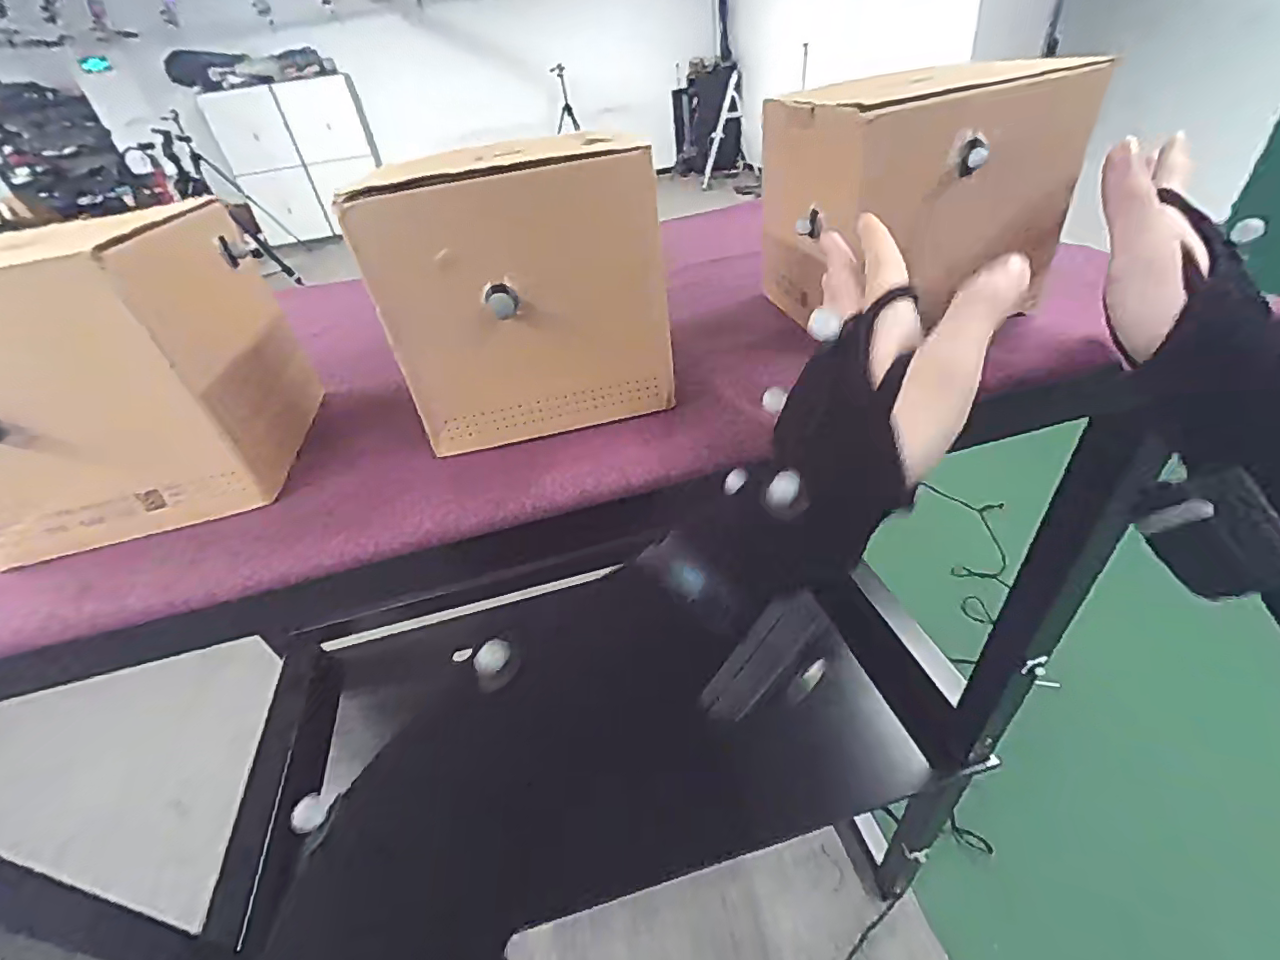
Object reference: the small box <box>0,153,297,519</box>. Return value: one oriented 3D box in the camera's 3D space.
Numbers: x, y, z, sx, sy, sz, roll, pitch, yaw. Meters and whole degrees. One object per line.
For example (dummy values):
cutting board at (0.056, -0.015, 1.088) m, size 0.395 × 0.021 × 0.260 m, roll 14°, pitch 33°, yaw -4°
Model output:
small box at (-0.359, -0.092, 0.348) m, size 0.168 × 0.176 × 0.179 m, roll -14°, pitch 38°, yaw -7°

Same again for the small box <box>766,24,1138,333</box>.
small box at (0.207, -0.229, 0.422) m, size 0.179 × 0.176 × 0.168 m, roll -11°, pitch 38°, yaw -2°

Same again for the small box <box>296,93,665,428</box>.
small box at (-0.089, -0.155, 0.380) m, size 0.179 × 0.176 × 0.168 m, roll -12°, pitch 39°, yaw -5°
